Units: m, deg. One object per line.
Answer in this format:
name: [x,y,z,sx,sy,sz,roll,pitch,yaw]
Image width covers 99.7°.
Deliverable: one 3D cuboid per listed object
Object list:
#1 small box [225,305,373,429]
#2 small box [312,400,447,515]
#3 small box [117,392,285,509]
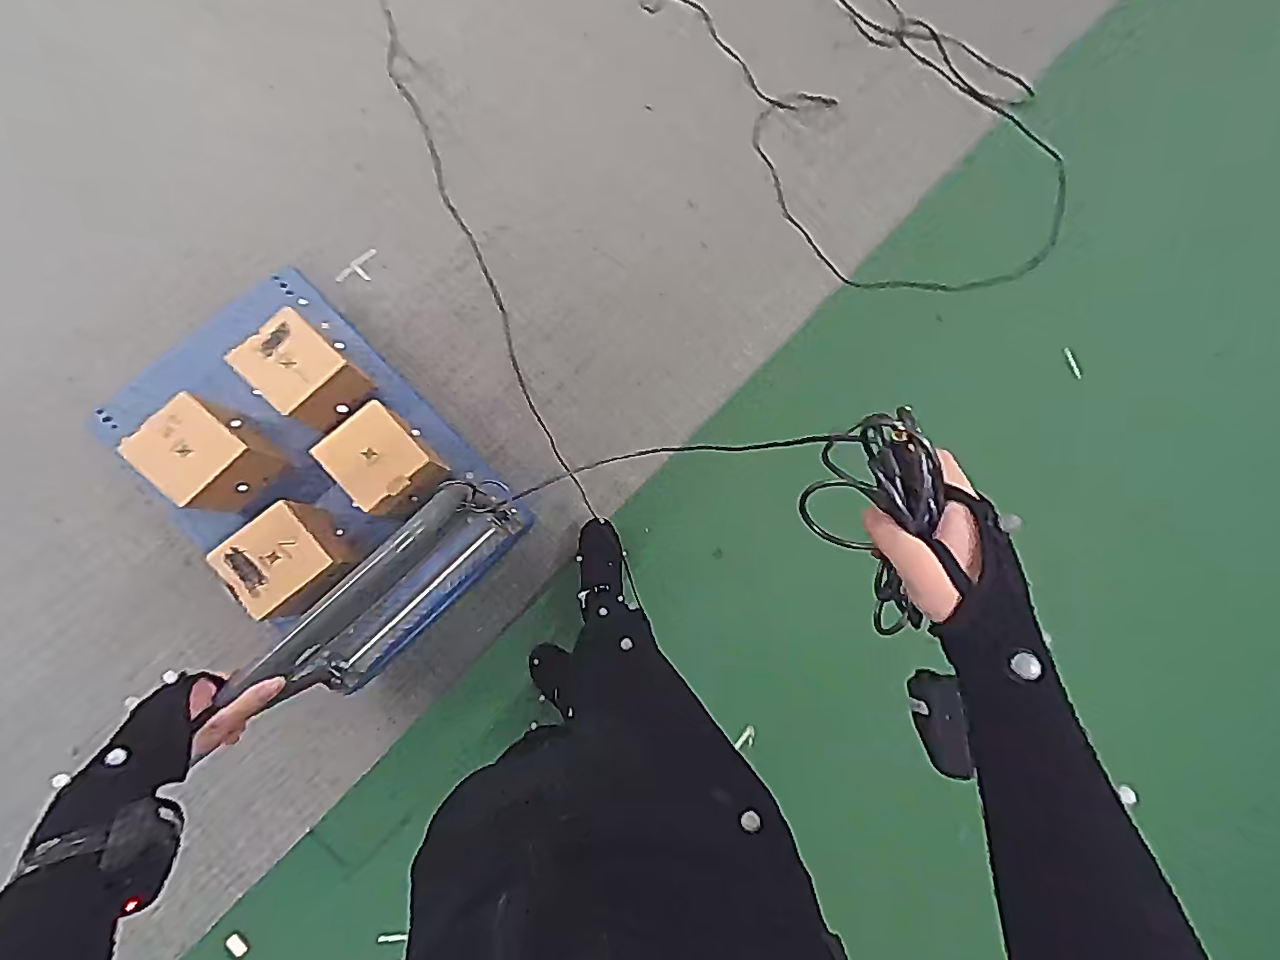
small box: [-0.727,-0.235,1.174,0.179,0.176,0.168,45,81,0]
small box: [-0.551,-0.039,1.168,0.168,0.176,0.179,-43,89,-9]
small box: [-0.902,-0.052,1.133,0.179,0.176,0.168,42,80,1]
